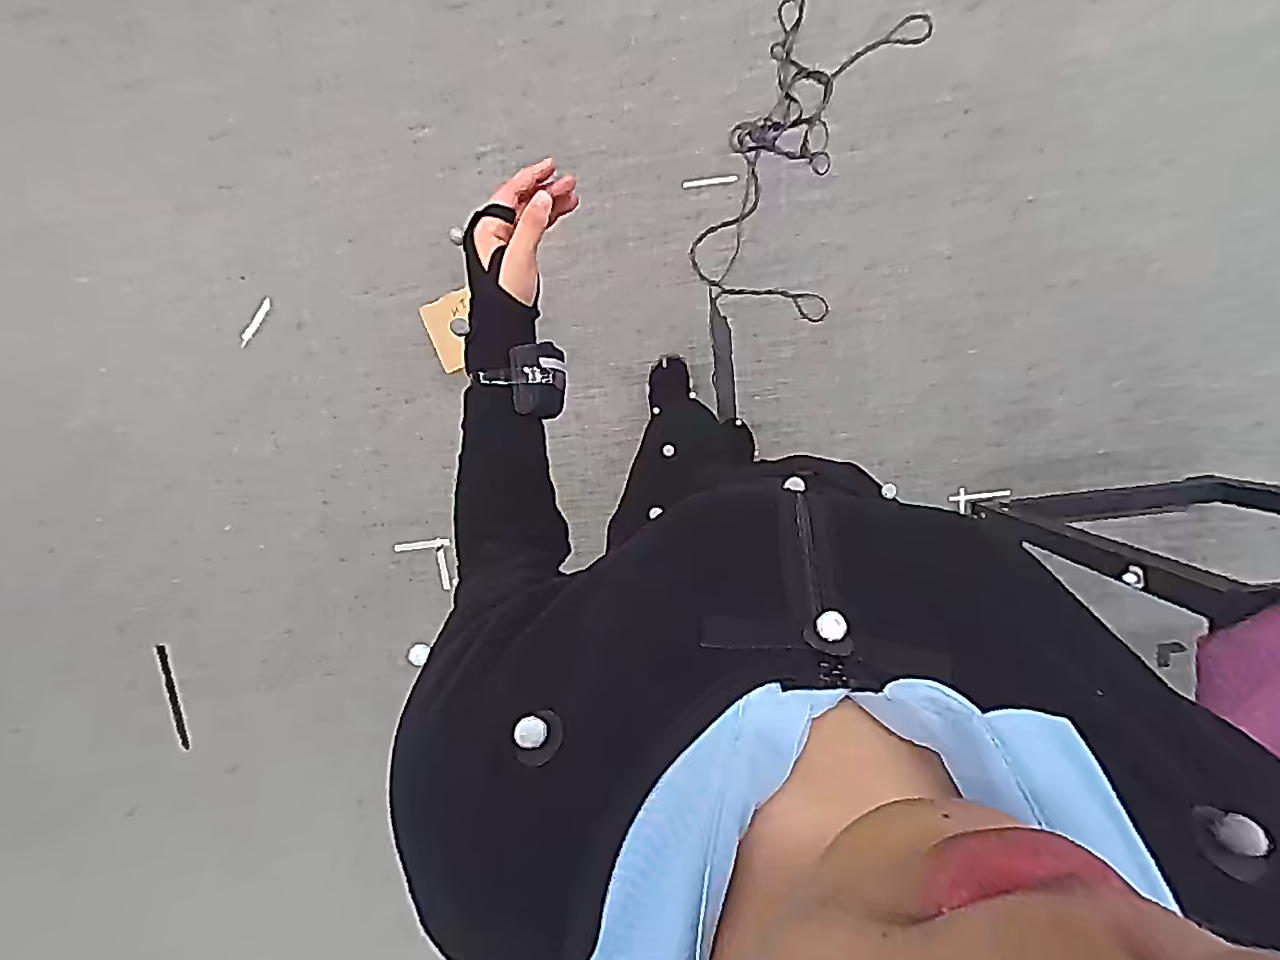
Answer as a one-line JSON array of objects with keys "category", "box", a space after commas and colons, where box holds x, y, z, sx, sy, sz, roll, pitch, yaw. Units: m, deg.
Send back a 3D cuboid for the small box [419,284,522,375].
[{"category": "small box", "box": [-0.430, -0.382, 1.403, 0.168, 0.176, 0.179, -21, 96, 8]}]
